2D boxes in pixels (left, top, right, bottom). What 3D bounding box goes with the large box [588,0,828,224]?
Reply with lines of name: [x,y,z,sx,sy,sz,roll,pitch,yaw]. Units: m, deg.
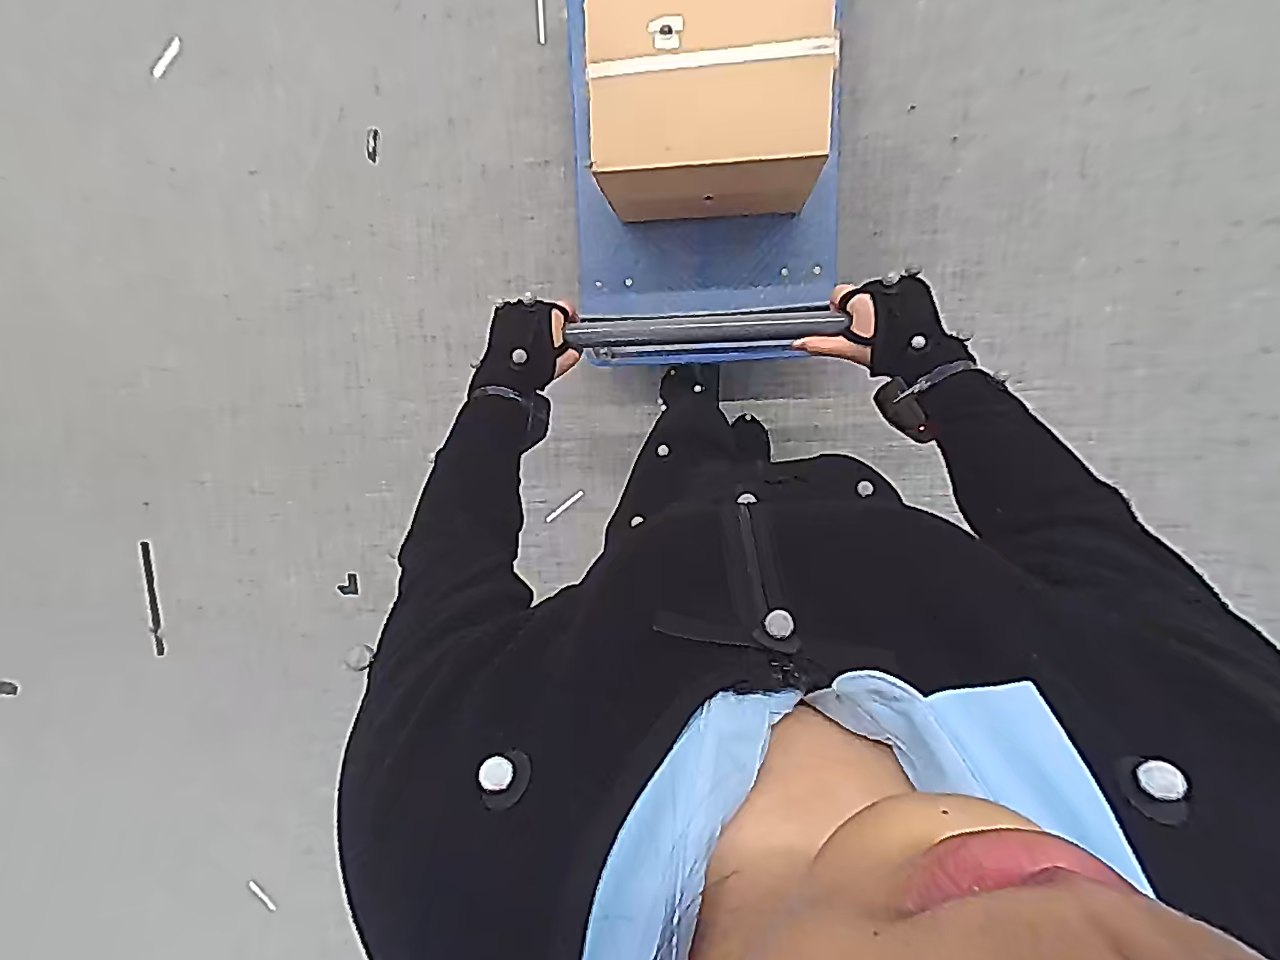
large box: [0.136,-0.718,1.059,0.408,0.320,0.320,0,99,9]
